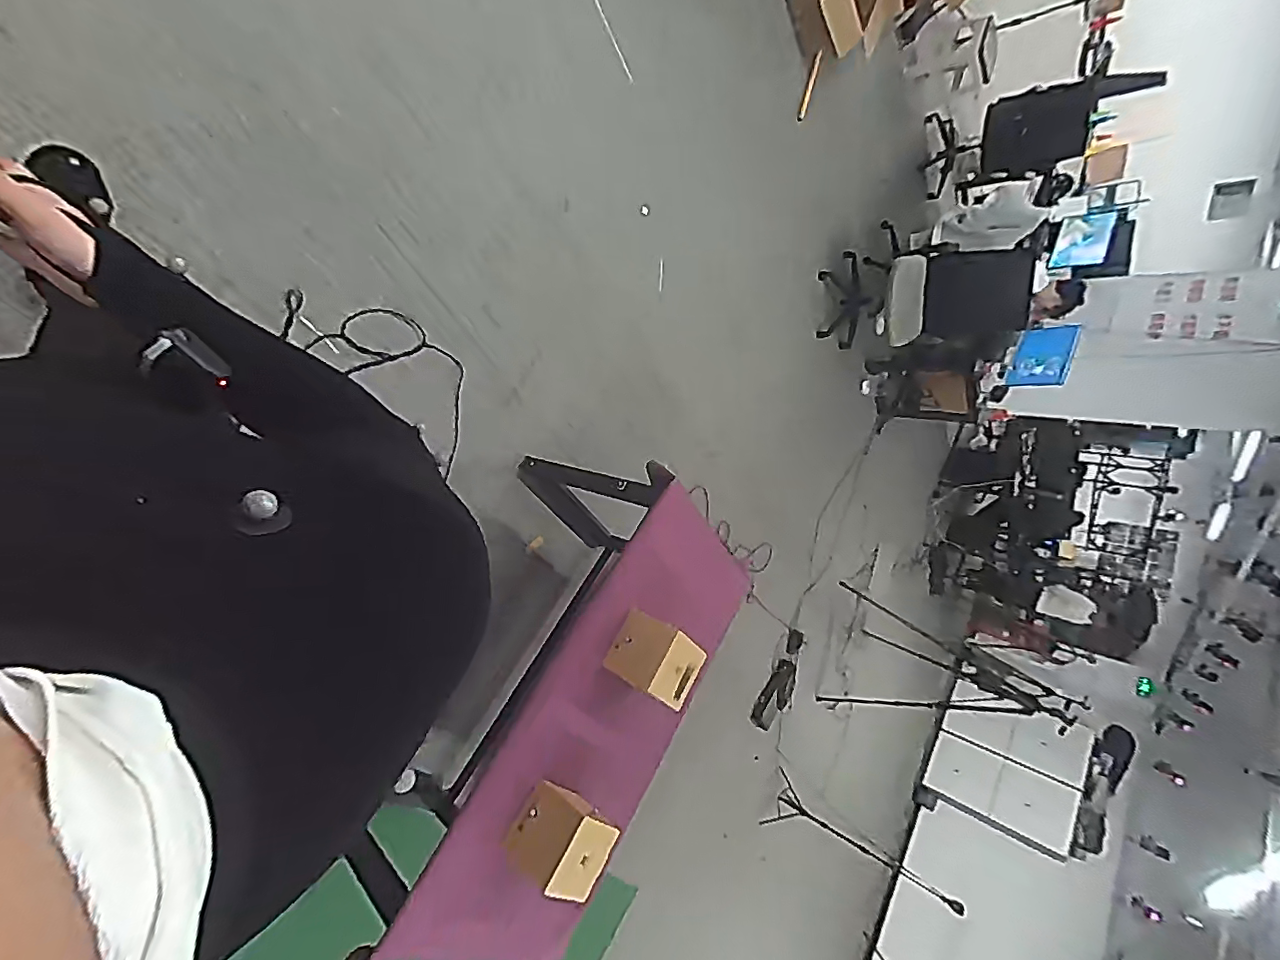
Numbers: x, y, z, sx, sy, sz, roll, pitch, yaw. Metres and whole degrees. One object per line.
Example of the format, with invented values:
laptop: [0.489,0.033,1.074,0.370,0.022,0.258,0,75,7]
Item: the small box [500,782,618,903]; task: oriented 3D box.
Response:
small box: [-0.189,0.844,1.268,0.168,0.176,0.179,-56,136,-24]
